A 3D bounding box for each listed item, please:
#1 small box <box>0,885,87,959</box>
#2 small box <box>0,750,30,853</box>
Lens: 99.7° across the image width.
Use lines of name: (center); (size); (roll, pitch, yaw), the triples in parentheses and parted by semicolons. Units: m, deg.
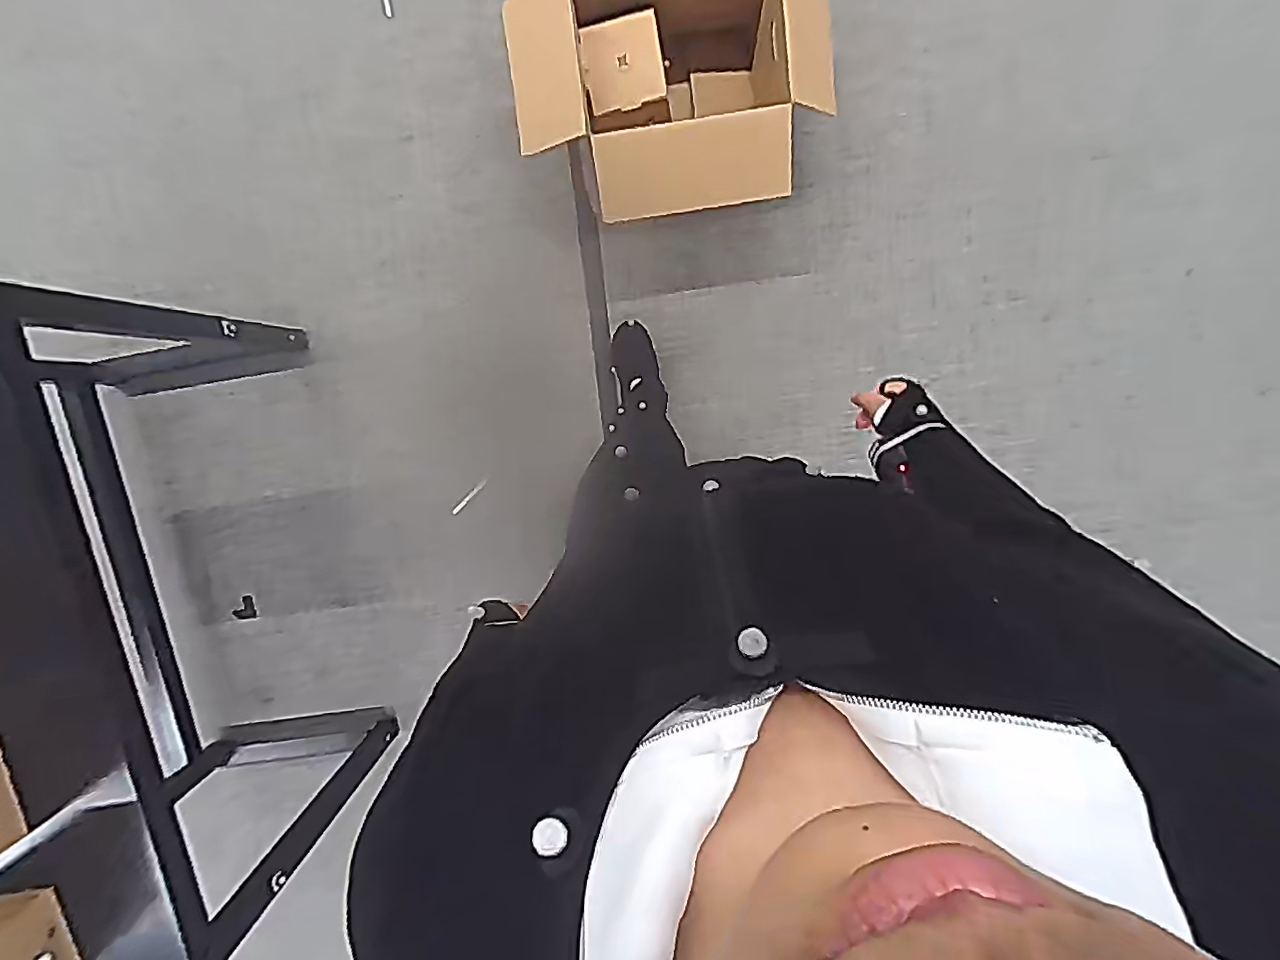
small box: (-1.017, 0.758, 0.815); (0.179, 0.176, 0.168); (-10, 99, 3)
small box: (-1.059, 0.498, 0.772); (0.168, 0.176, 0.179); (-8, 99, 3)
